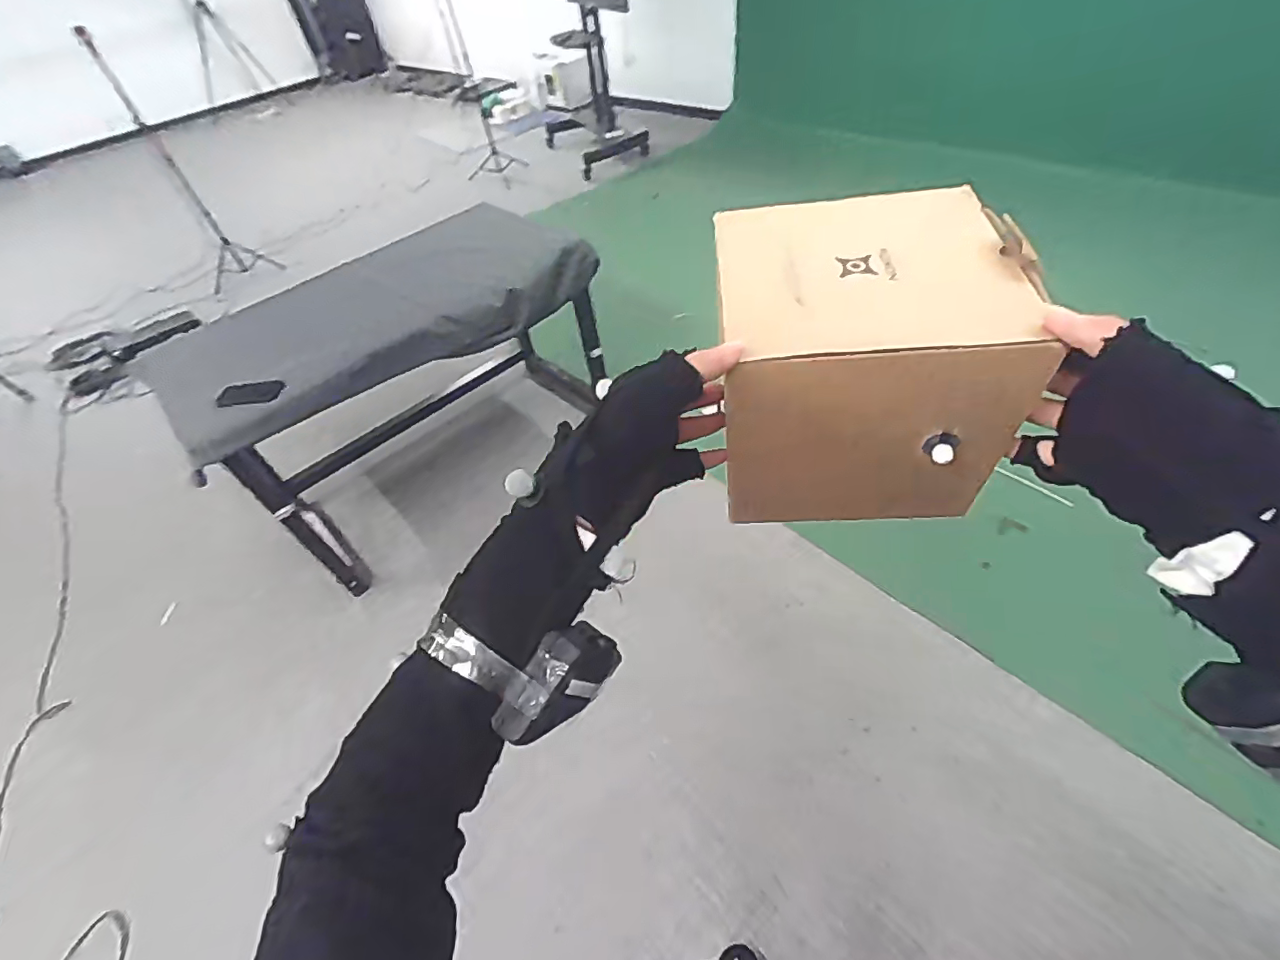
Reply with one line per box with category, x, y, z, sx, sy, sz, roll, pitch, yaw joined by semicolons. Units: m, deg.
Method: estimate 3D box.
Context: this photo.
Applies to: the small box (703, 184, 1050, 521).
small box;0.140;-0.083;0.397;0.179;0.176;0.168;-4;52;8
